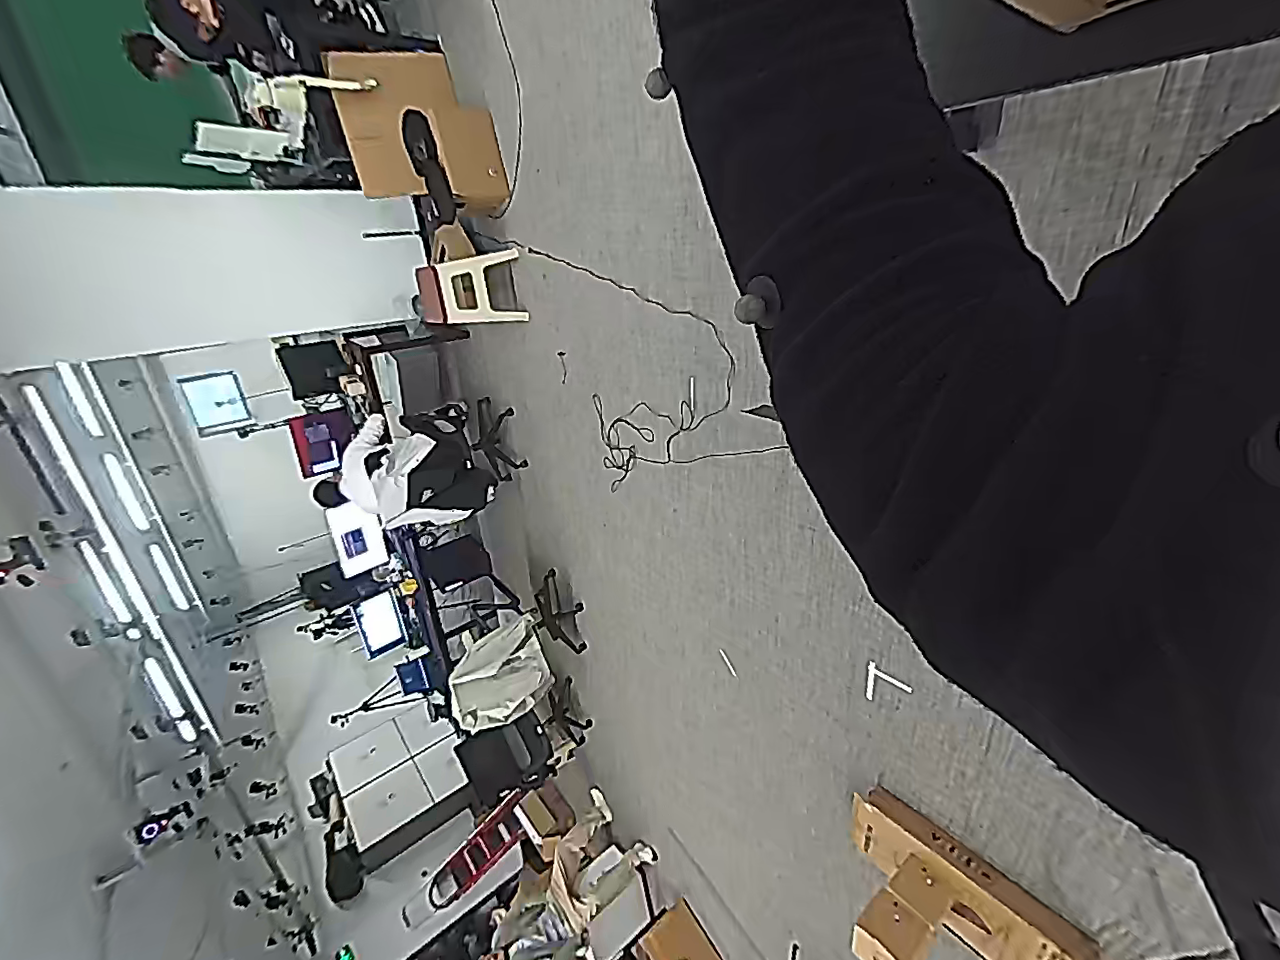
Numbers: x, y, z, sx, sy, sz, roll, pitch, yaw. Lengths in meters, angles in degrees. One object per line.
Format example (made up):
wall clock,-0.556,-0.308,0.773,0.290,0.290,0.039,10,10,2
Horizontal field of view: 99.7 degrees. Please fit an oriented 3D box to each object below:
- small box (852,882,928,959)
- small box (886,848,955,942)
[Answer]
small box,0.831,1.504,1.797,0.168,0.176,0.179,24,127,47
small box,0.962,1.440,1.877,0.168,0.176,0.179,28,129,44
